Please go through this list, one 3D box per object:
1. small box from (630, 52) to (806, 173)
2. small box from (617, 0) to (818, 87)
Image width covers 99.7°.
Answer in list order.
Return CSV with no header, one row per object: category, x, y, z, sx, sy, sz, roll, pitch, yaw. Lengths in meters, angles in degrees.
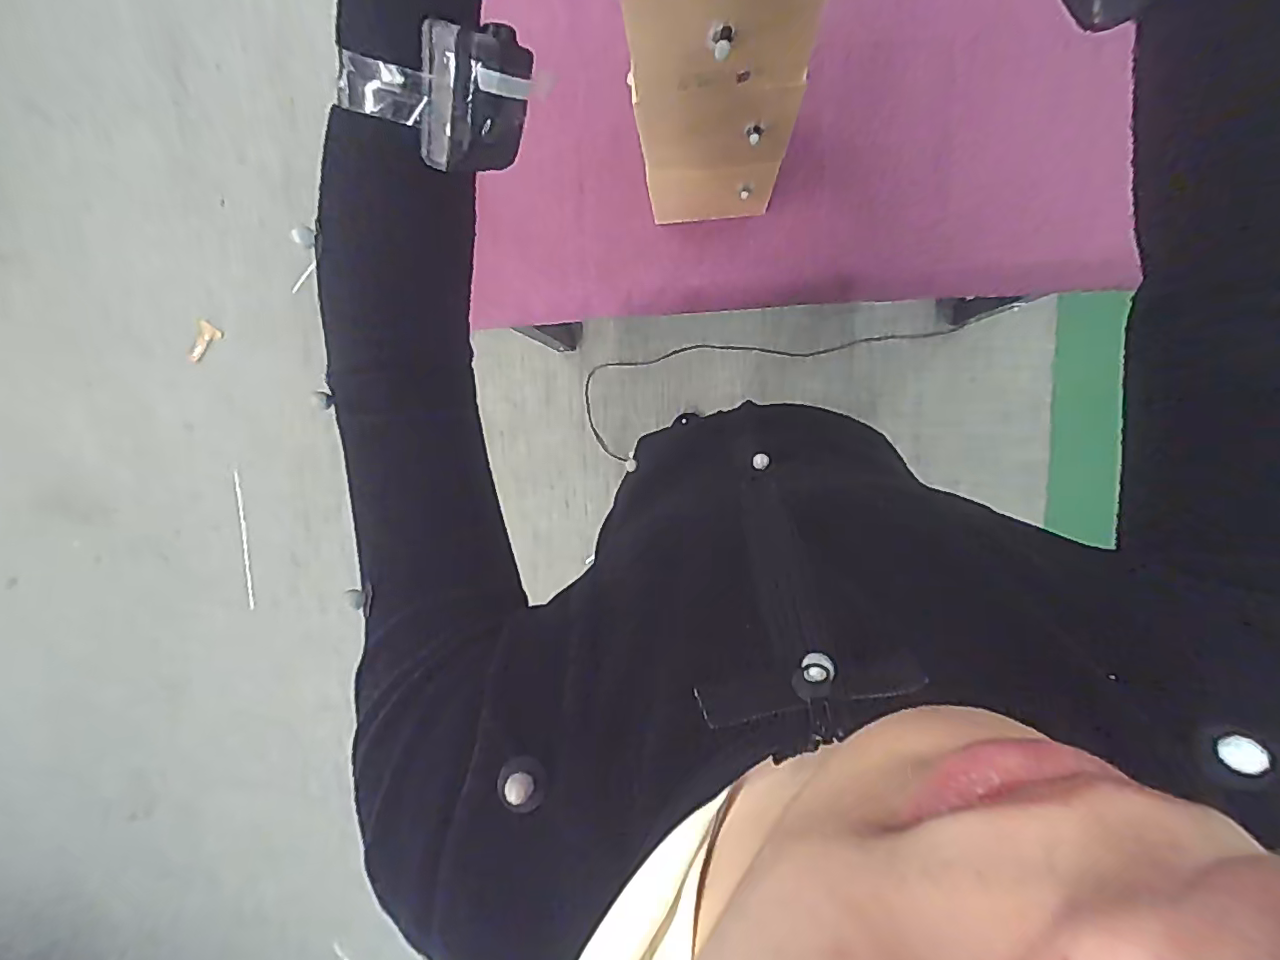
small box,0.083,-0.475,0.612,0.179,0.176,0.168,-2,95,7
small box,0.064,-0.466,0.451,0.168,0.176,0.179,-3,95,7
